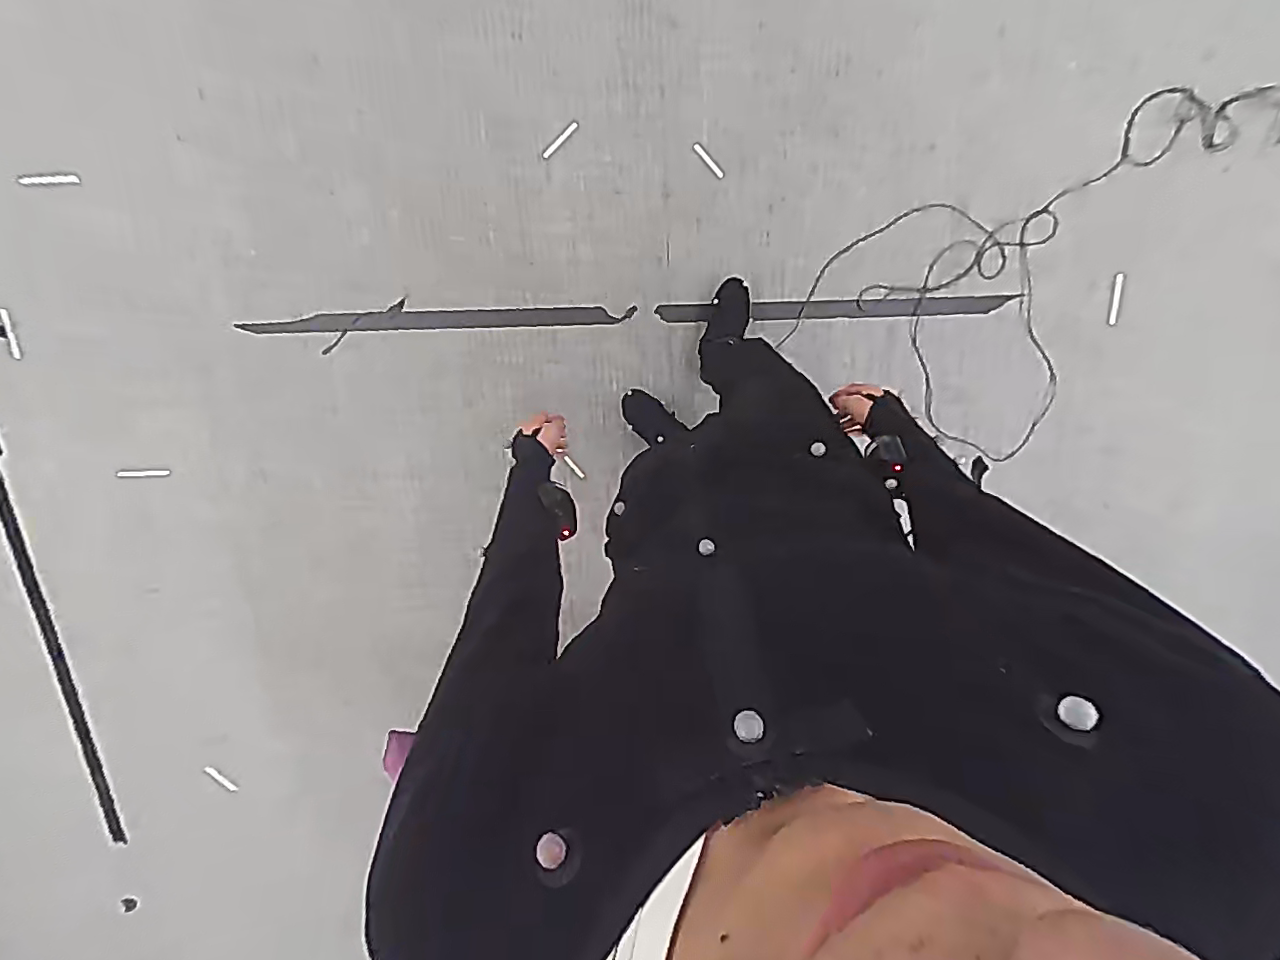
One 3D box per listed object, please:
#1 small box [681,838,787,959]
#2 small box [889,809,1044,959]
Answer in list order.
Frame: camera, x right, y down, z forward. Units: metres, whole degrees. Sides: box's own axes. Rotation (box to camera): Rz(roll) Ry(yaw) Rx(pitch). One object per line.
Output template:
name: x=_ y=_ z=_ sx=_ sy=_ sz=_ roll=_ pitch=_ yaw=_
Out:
small box: x=0.167 y=0.802 z=1.003 sx=0.179 sy=0.176 sz=0.168 roll=-5 pitch=105 yaw=1
small box: x=0.583 y=0.750 z=0.992 sx=0.168 sy=0.176 sz=0.179 roll=7 pitch=103 yaw=-2
